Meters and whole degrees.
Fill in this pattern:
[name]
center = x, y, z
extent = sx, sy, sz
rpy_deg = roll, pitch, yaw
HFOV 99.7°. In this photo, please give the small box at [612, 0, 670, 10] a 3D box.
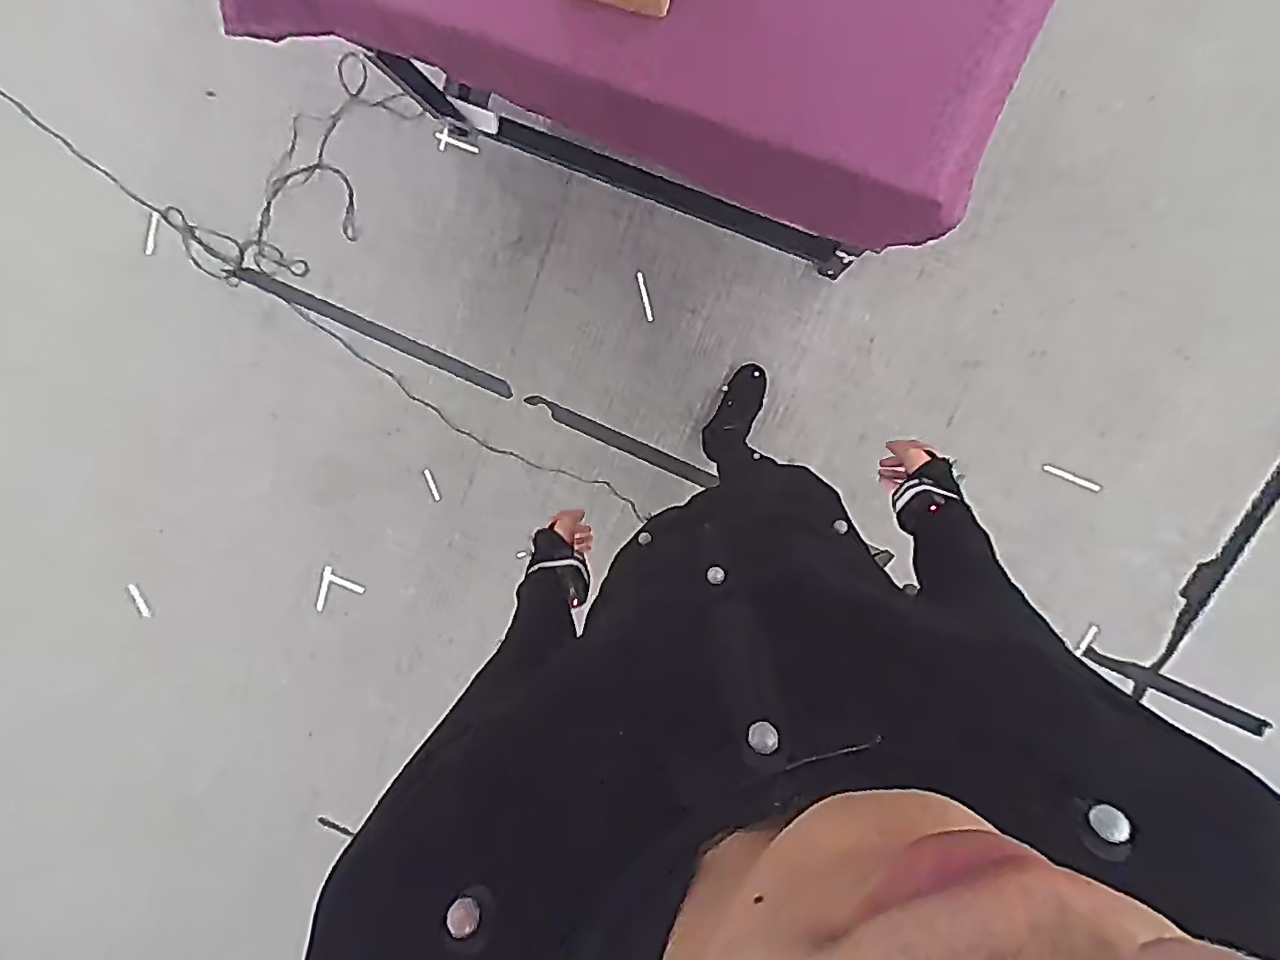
[small box]
center = -0.033, -0.745, 0.677
extent = 0.179, 0.176, 0.168
rpy_deg = 19, 103, 5
